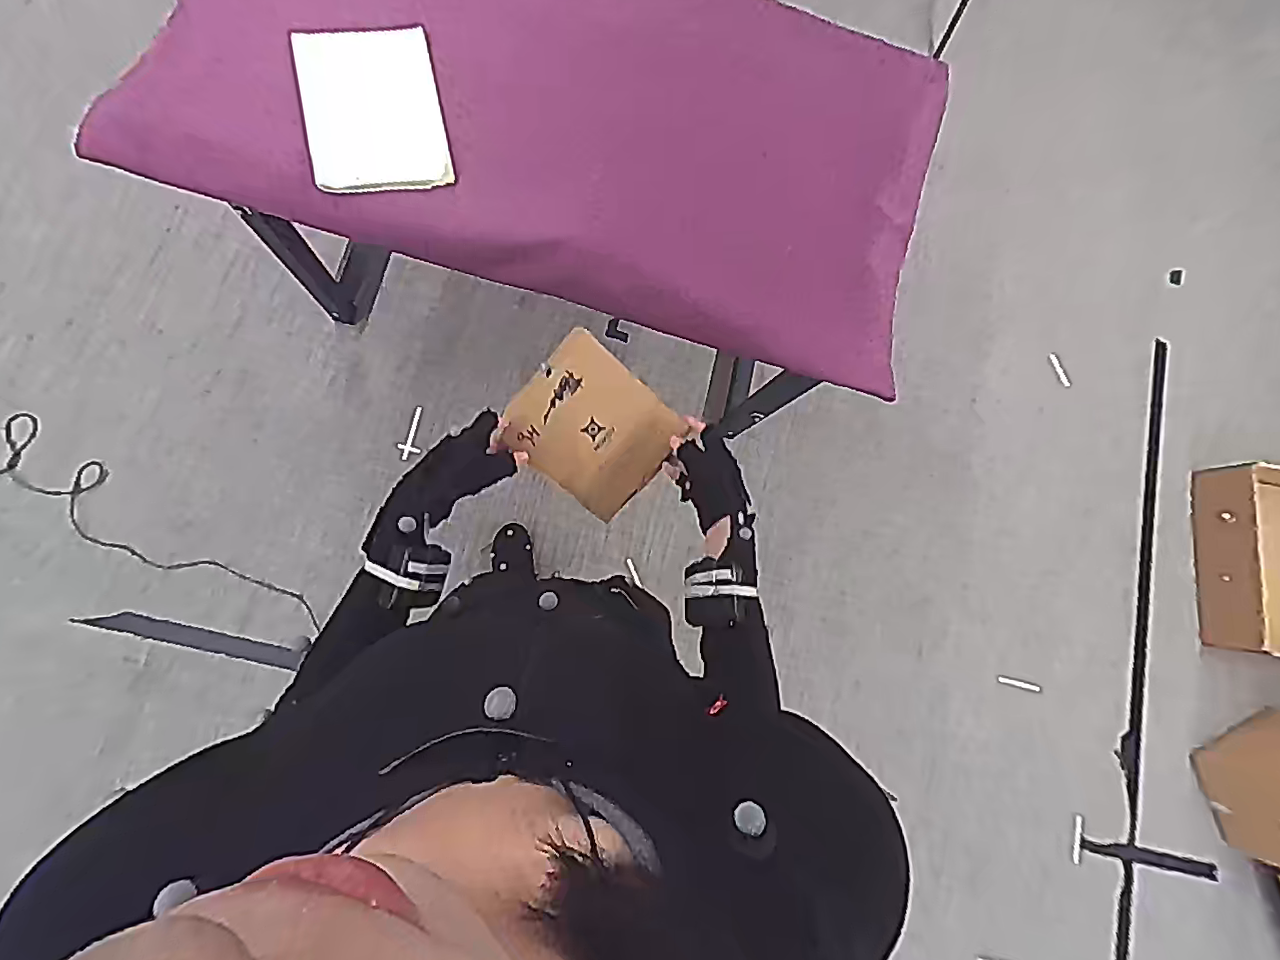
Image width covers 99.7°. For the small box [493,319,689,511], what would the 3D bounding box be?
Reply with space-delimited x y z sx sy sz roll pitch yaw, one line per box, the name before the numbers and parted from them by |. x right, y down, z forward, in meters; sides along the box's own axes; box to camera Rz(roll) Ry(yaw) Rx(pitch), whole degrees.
small box | -0.067 -0.095 0.710 0.179 0.176 0.168 40 98 -20
